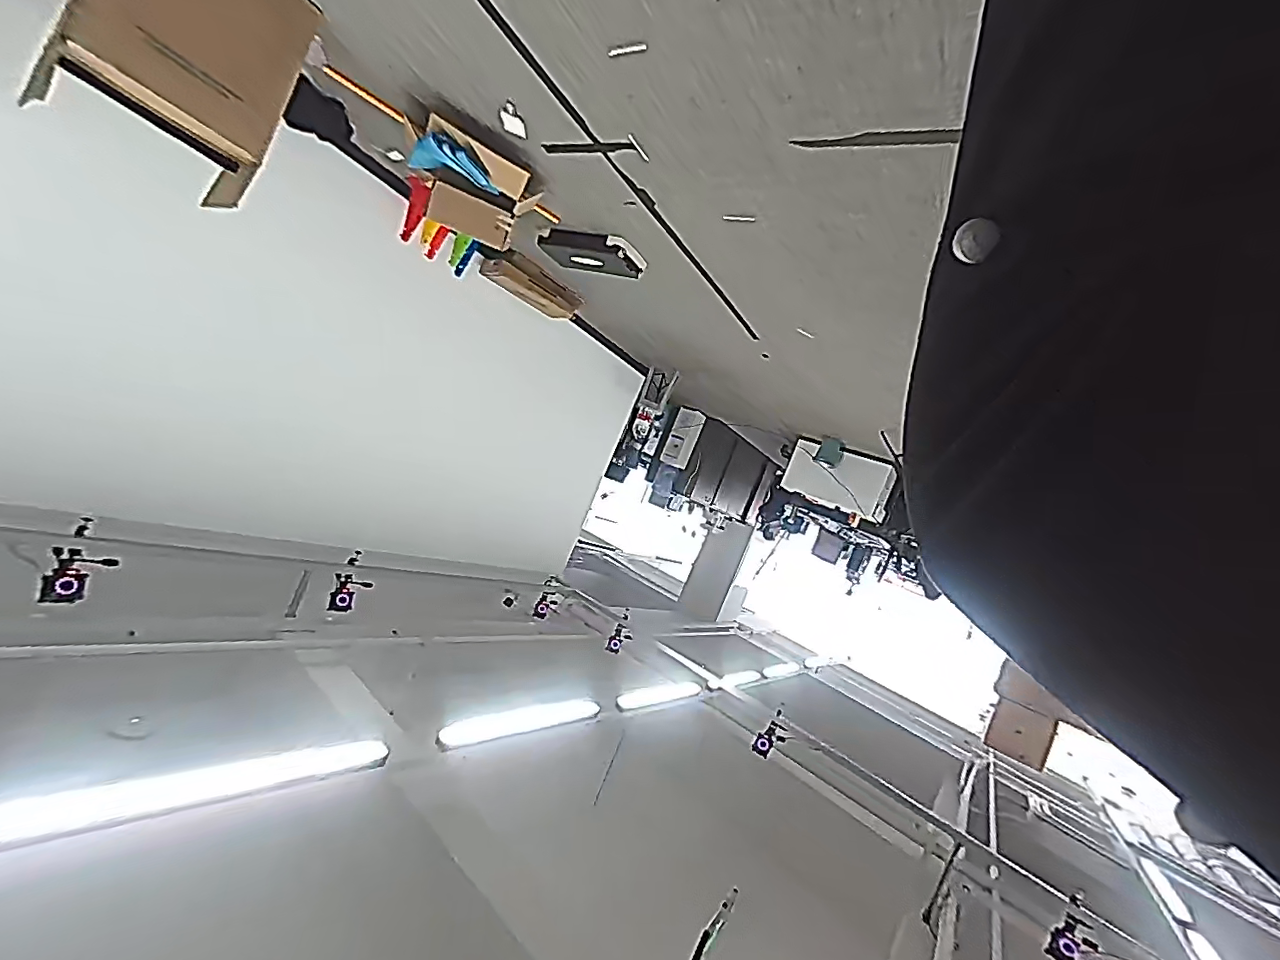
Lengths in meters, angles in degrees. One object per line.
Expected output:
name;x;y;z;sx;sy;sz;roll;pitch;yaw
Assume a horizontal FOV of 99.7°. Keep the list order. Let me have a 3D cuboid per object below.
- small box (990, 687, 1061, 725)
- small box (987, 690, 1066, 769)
small box;1.375;0.860;1.931;0.168;0.176;0.179;22;179;35
small box;1.254;0.810;1.761;0.168;0.176;0.179;22;179;34
